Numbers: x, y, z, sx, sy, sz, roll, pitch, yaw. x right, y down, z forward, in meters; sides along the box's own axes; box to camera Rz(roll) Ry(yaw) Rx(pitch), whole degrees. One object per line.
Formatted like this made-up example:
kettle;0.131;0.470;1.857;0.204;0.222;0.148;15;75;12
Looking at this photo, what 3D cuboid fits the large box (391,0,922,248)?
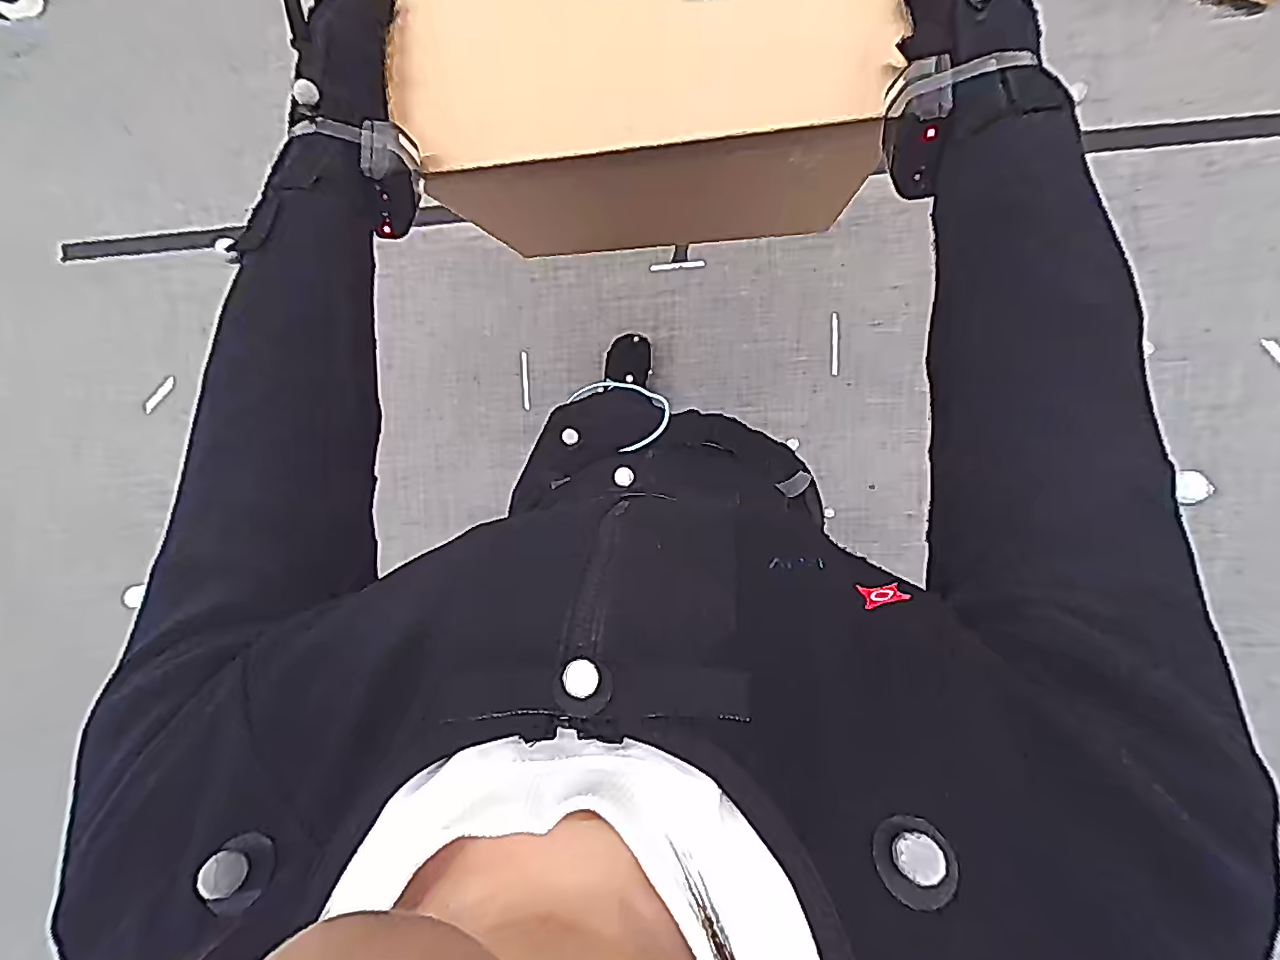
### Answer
large box;0.015;-0.447;0.540;0.408;0.320;0.320;-2;101;7
